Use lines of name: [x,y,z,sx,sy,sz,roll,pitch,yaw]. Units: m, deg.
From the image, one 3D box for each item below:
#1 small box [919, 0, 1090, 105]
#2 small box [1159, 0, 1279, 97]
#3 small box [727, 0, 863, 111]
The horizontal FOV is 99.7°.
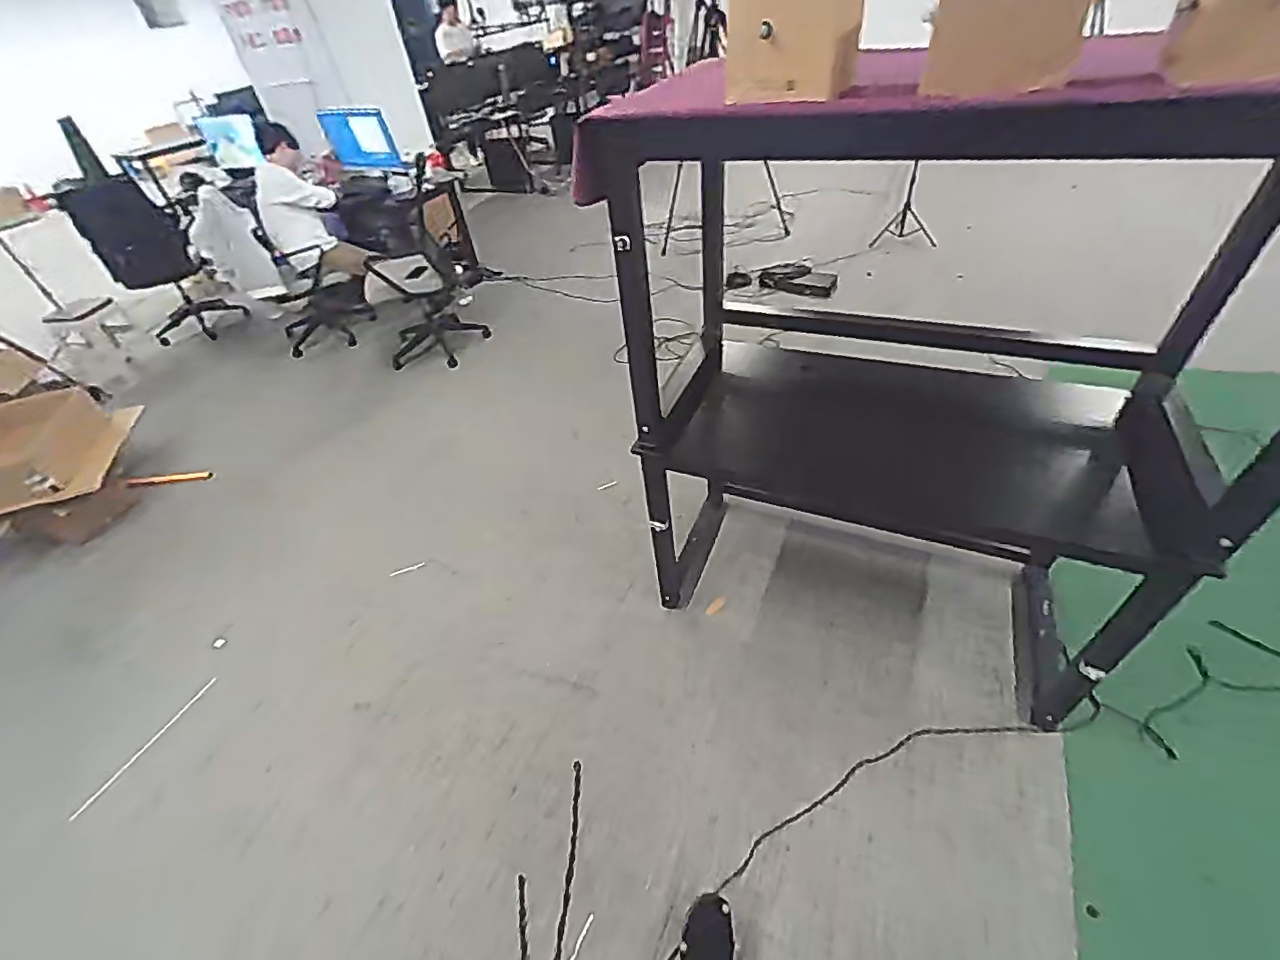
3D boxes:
small box: [0.495,-0.627,0.738,0.179,0.176,0.168,12,45,20]
small box: [0.751,-0.560,0.625,0.179,0.176,0.168,12,47,23]
small box: [0.244,-0.689,0.845,0.168,0.176,0.179,15,45,24]
